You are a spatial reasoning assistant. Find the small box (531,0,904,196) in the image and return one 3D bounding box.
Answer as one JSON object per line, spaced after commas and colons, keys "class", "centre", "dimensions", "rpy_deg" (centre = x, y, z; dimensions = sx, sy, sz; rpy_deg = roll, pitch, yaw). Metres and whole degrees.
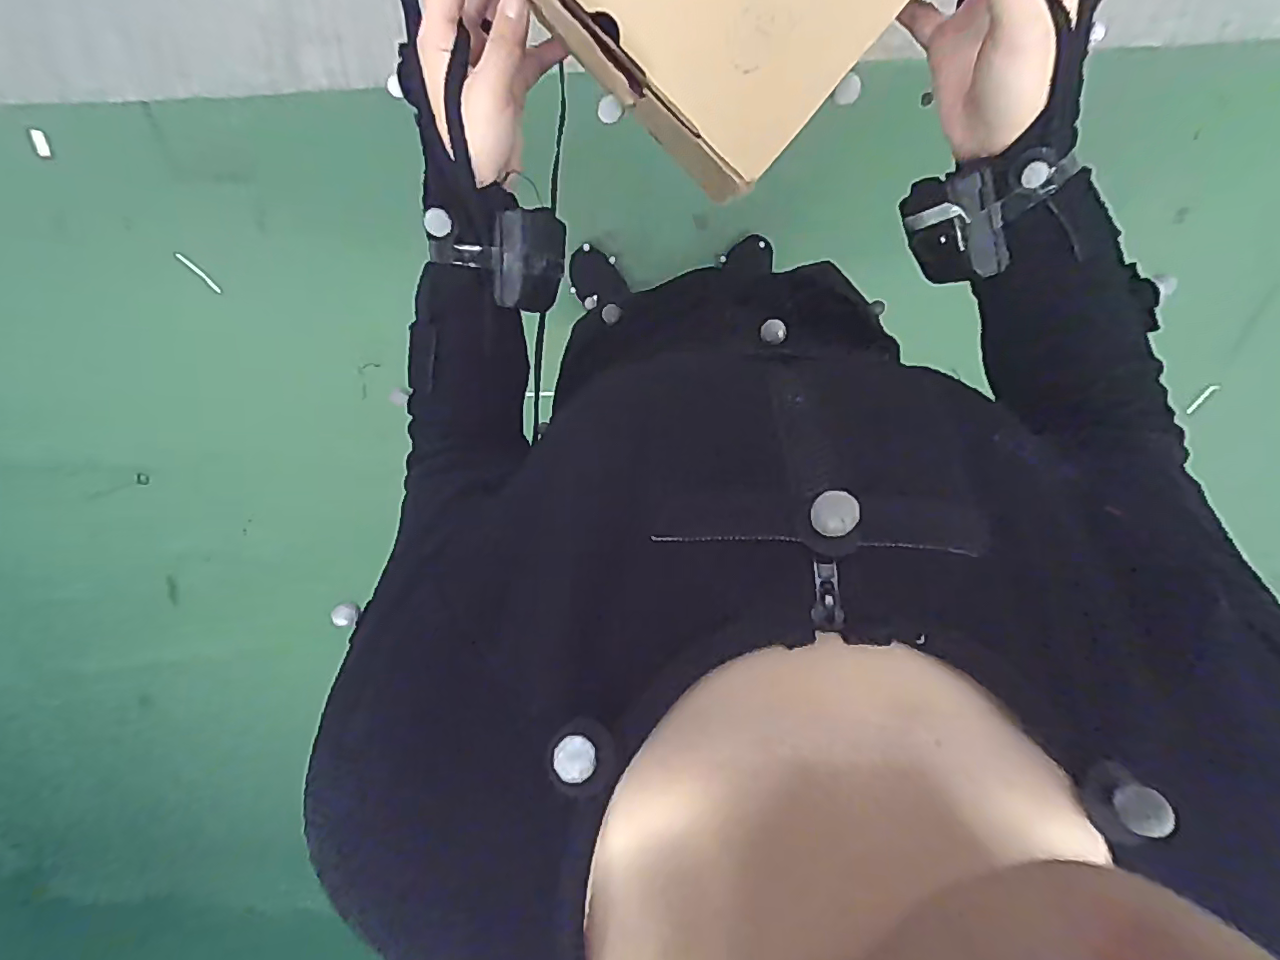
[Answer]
{"class": "small box", "centre": [0.046, -0.268, 0.266], "dimensions": [0.168, 0.176, 0.179], "rpy_deg": [40, 112, -13]}
